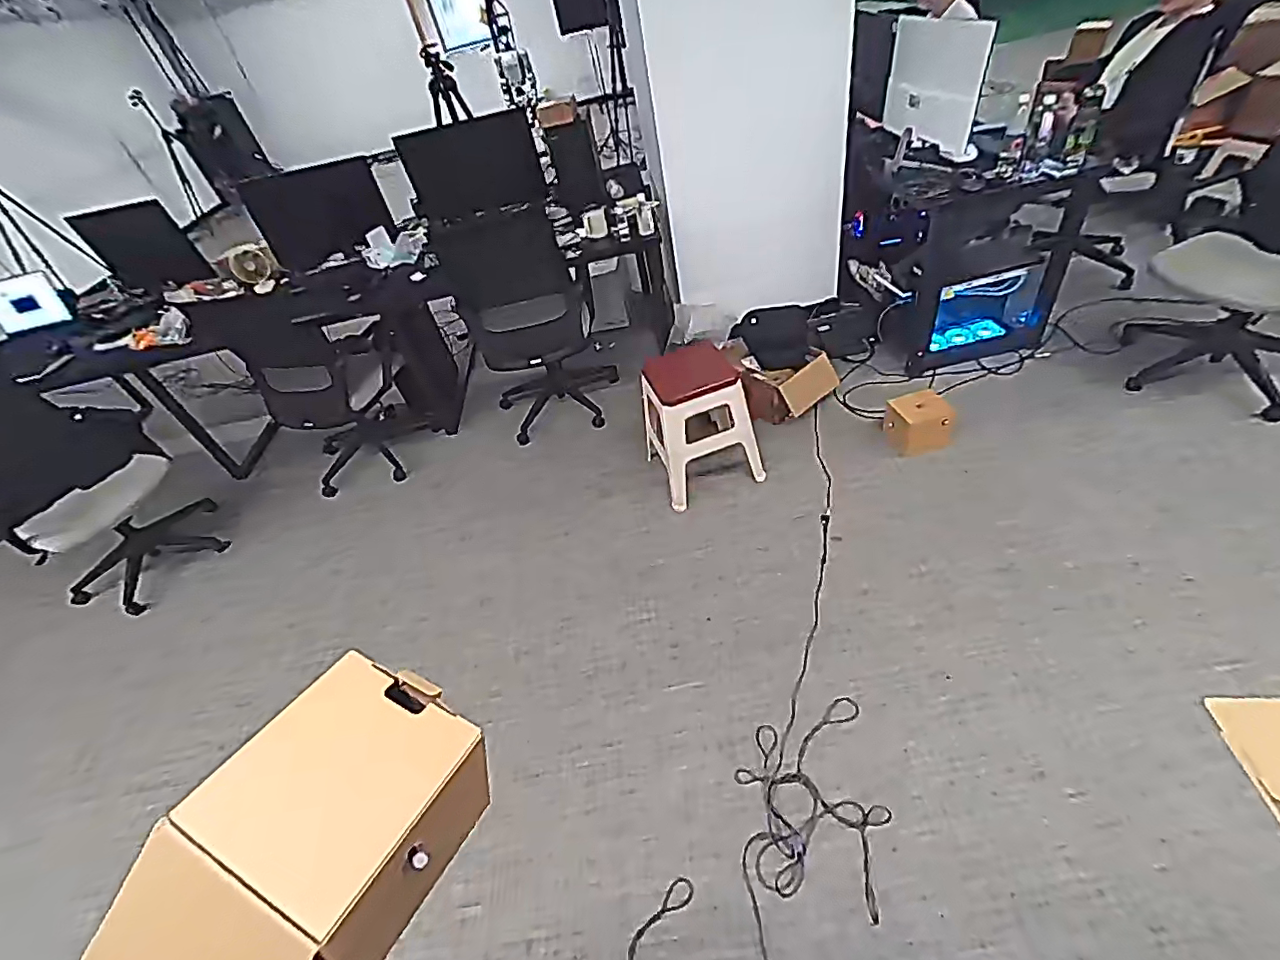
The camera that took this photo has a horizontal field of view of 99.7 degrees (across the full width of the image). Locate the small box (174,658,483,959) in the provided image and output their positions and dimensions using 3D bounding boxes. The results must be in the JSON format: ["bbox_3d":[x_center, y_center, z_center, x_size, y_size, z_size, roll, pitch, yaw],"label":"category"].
[{"bbox_3d":[-0.262,0.313,0.505,0.168,0.176,0.179,23,39,16],"label":"small box"}]
